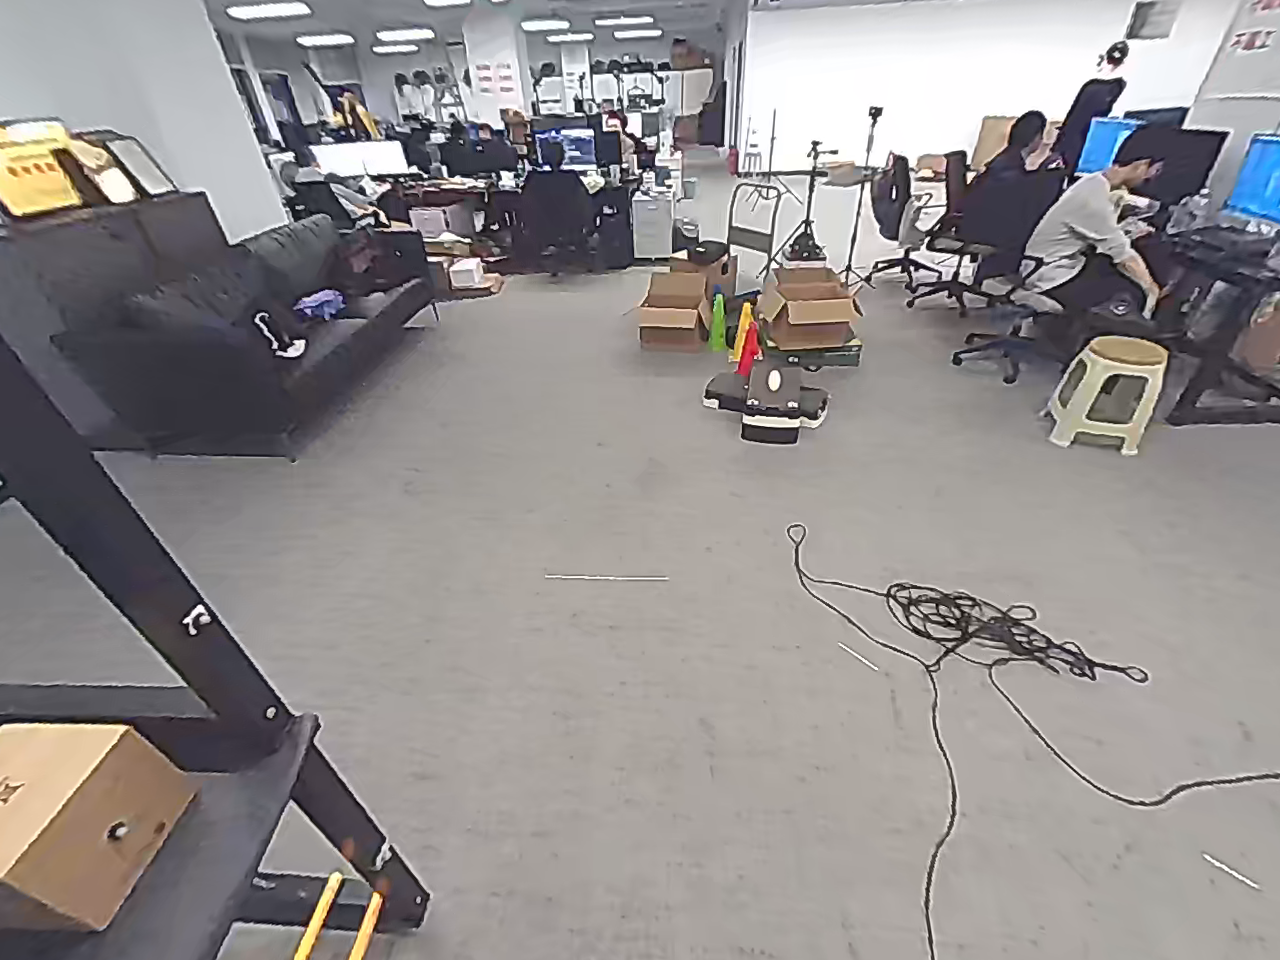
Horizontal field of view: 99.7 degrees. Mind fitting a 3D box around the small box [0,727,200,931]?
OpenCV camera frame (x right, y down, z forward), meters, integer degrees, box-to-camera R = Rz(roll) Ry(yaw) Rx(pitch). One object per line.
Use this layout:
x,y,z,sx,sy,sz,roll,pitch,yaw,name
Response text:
-0.712,0.429,0.670,0.179,0.176,0.168,-2,36,4,small box
